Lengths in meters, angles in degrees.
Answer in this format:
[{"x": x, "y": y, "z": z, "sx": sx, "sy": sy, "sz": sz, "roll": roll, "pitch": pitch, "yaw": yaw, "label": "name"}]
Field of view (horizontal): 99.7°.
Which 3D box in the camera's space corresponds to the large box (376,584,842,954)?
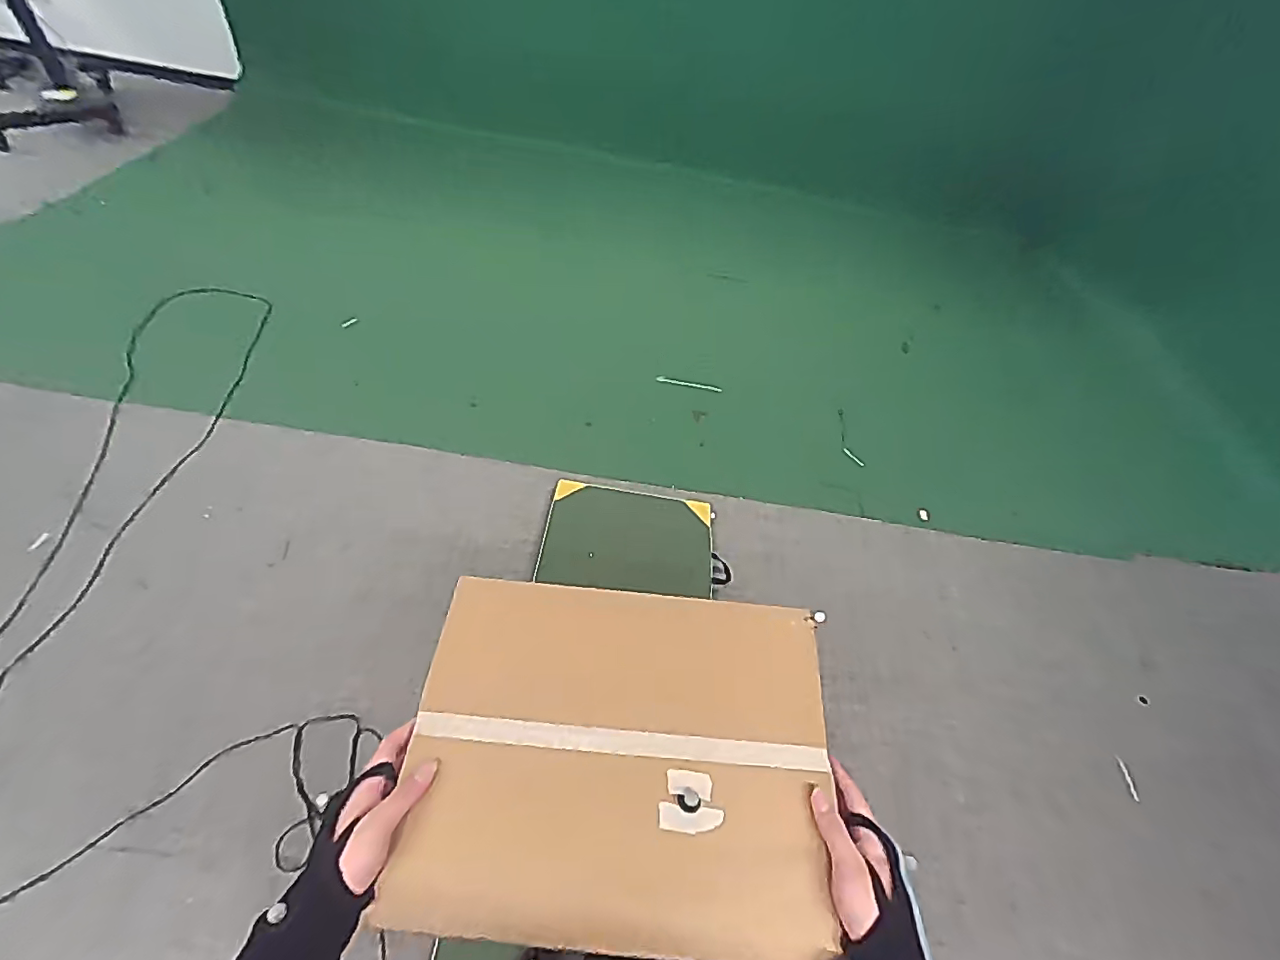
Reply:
[{"x": -0.027, "y": 0.347, "z": 0.659, "sx": 0.408, "sy": 0.320, "sz": 0.320, "roll": 6, "pitch": 54, "yaw": 0, "label": "large box"}]
